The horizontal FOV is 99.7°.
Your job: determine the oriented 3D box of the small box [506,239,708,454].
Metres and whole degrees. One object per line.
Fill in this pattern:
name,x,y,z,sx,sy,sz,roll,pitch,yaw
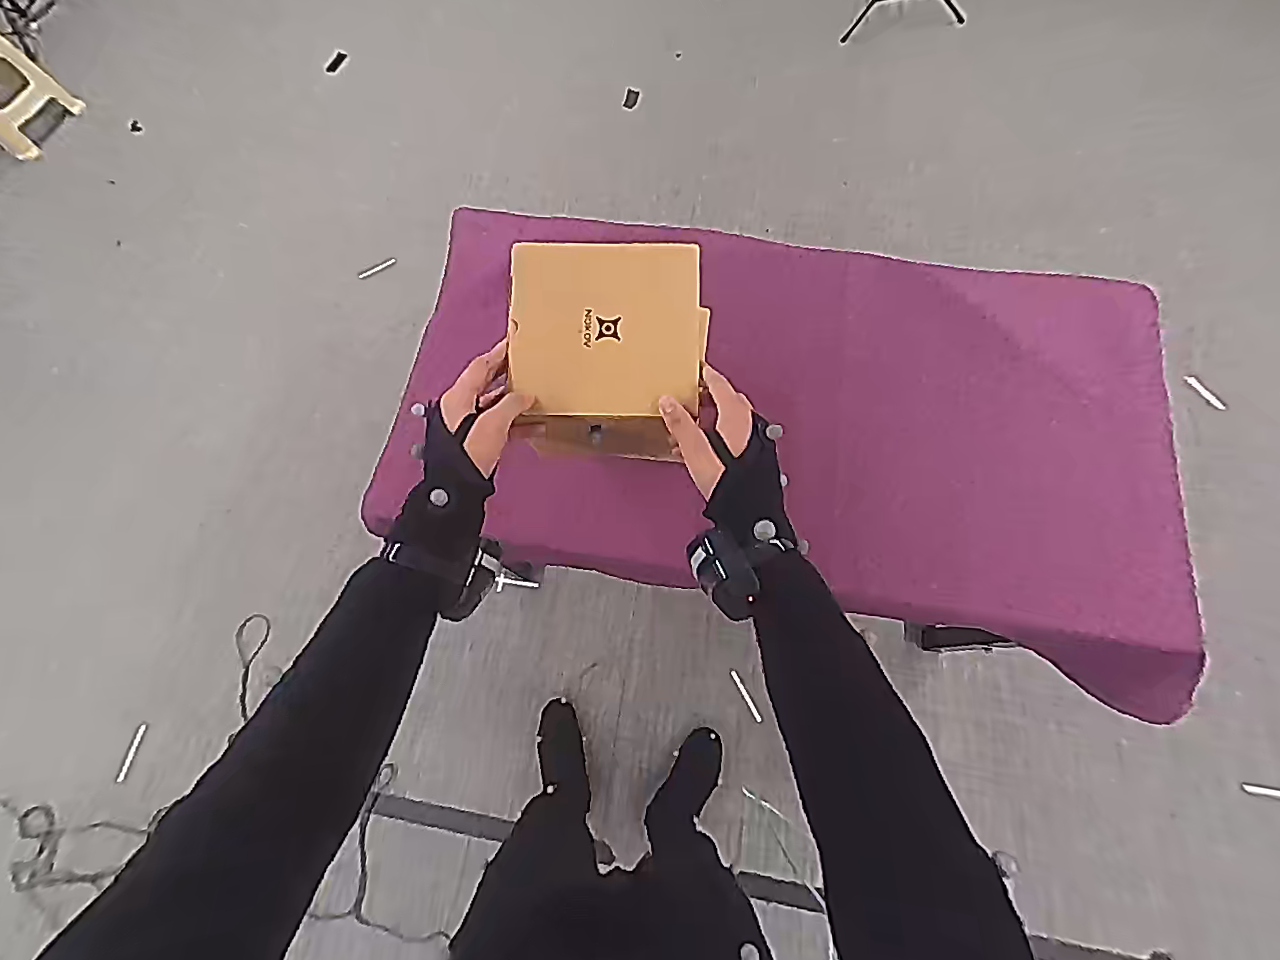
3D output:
small box,-0.026,-0.124,0.557,0.179,0.176,0.168,1,81,3

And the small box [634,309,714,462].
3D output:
small box,0.015,-0.139,0.804,0.168,0.176,0.179,7,71,5
